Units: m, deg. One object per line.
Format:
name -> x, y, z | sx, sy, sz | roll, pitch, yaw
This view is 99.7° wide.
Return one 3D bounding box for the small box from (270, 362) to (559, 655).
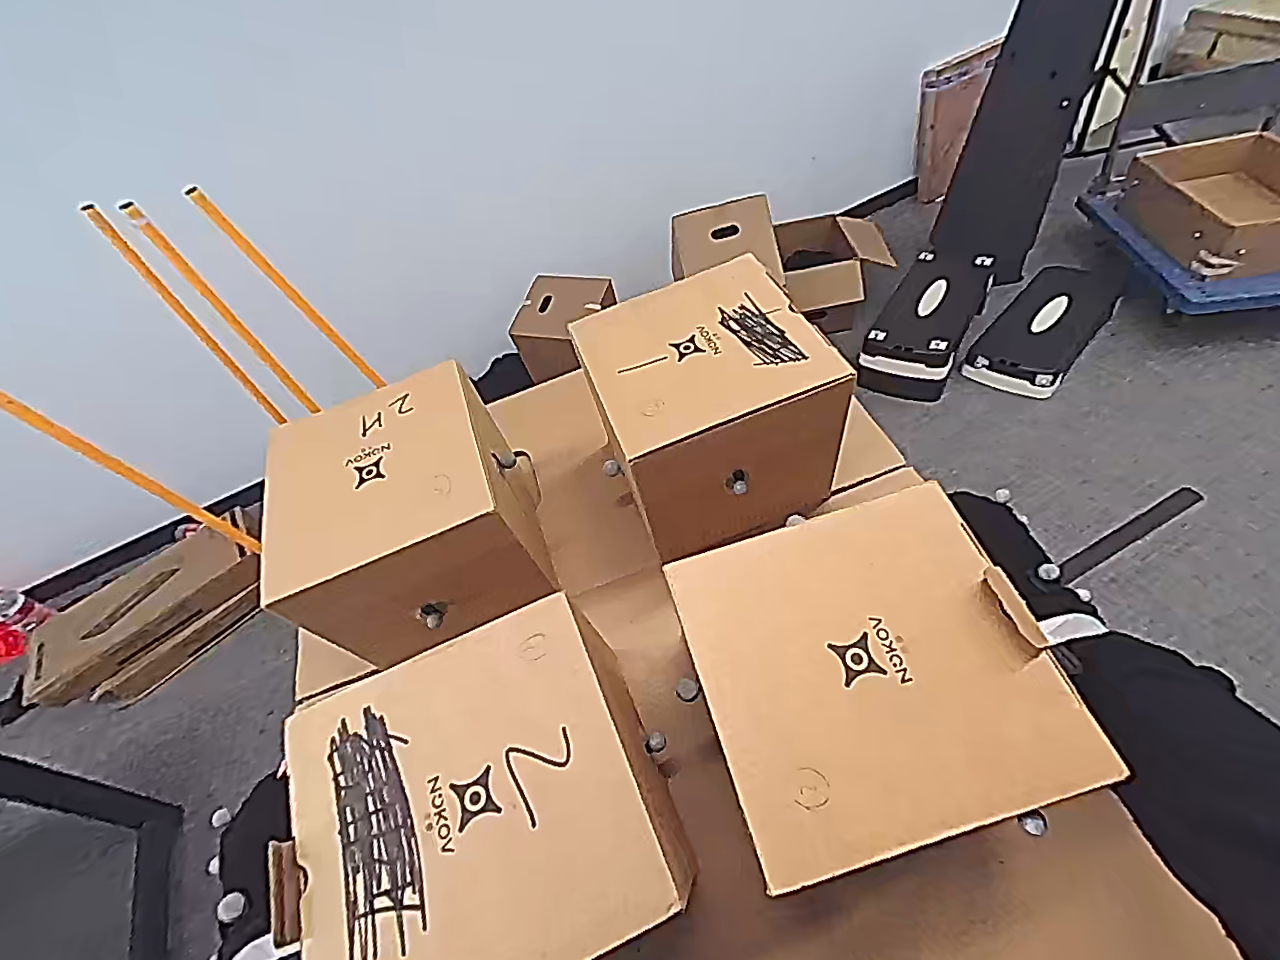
small box -> -0.185, 0.035, 0.478 | 0.168, 0.176, 0.179 | -22, 54, -4
